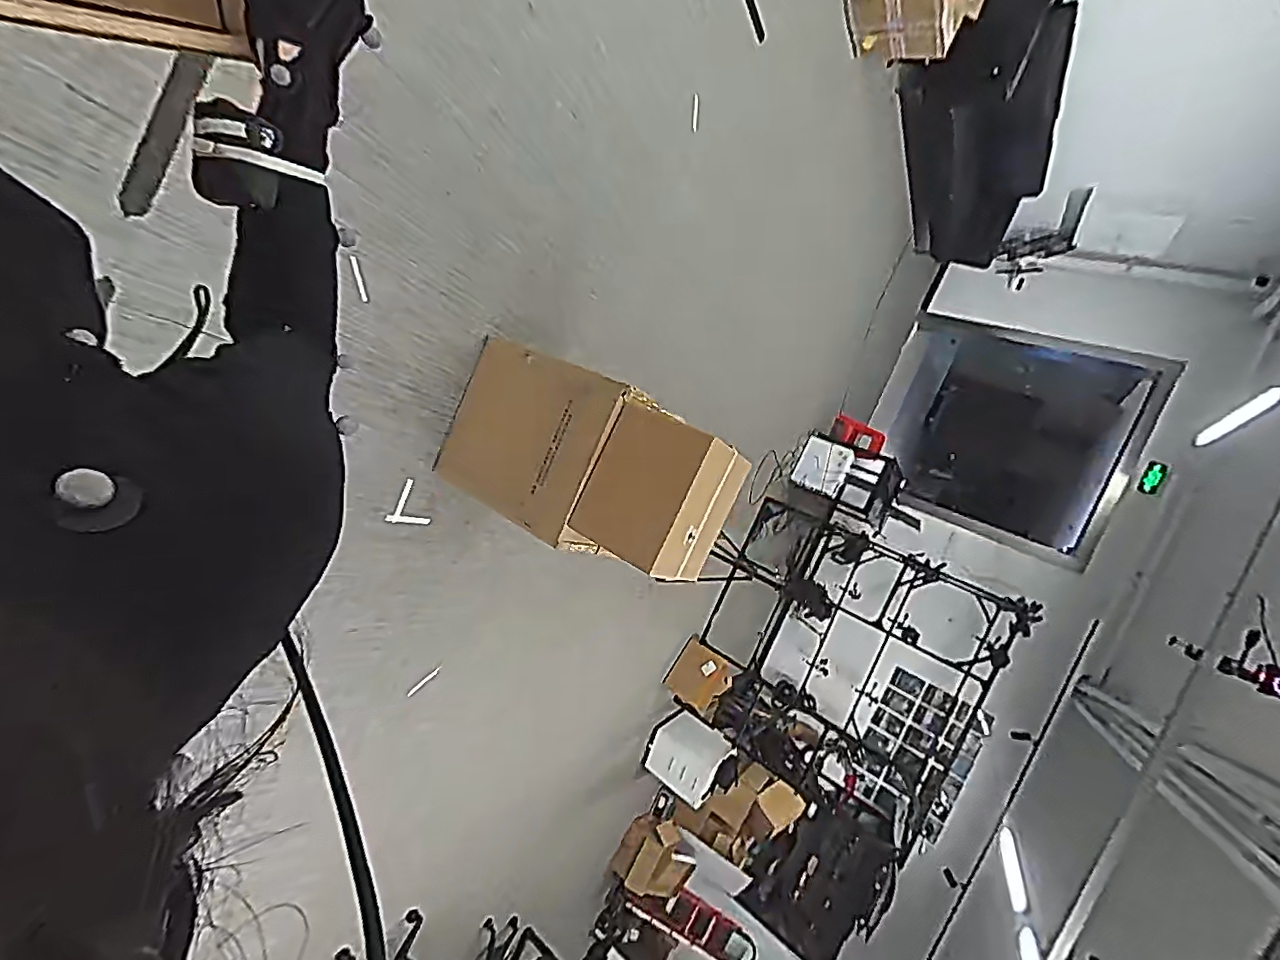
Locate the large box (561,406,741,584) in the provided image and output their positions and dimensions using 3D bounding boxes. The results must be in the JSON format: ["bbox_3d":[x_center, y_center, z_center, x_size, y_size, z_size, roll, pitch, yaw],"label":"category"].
[{"bbox_3d":[0.037,0.050,1.587,0.320,0.320,0.408,24,92,-58],"label":"large box"}]
